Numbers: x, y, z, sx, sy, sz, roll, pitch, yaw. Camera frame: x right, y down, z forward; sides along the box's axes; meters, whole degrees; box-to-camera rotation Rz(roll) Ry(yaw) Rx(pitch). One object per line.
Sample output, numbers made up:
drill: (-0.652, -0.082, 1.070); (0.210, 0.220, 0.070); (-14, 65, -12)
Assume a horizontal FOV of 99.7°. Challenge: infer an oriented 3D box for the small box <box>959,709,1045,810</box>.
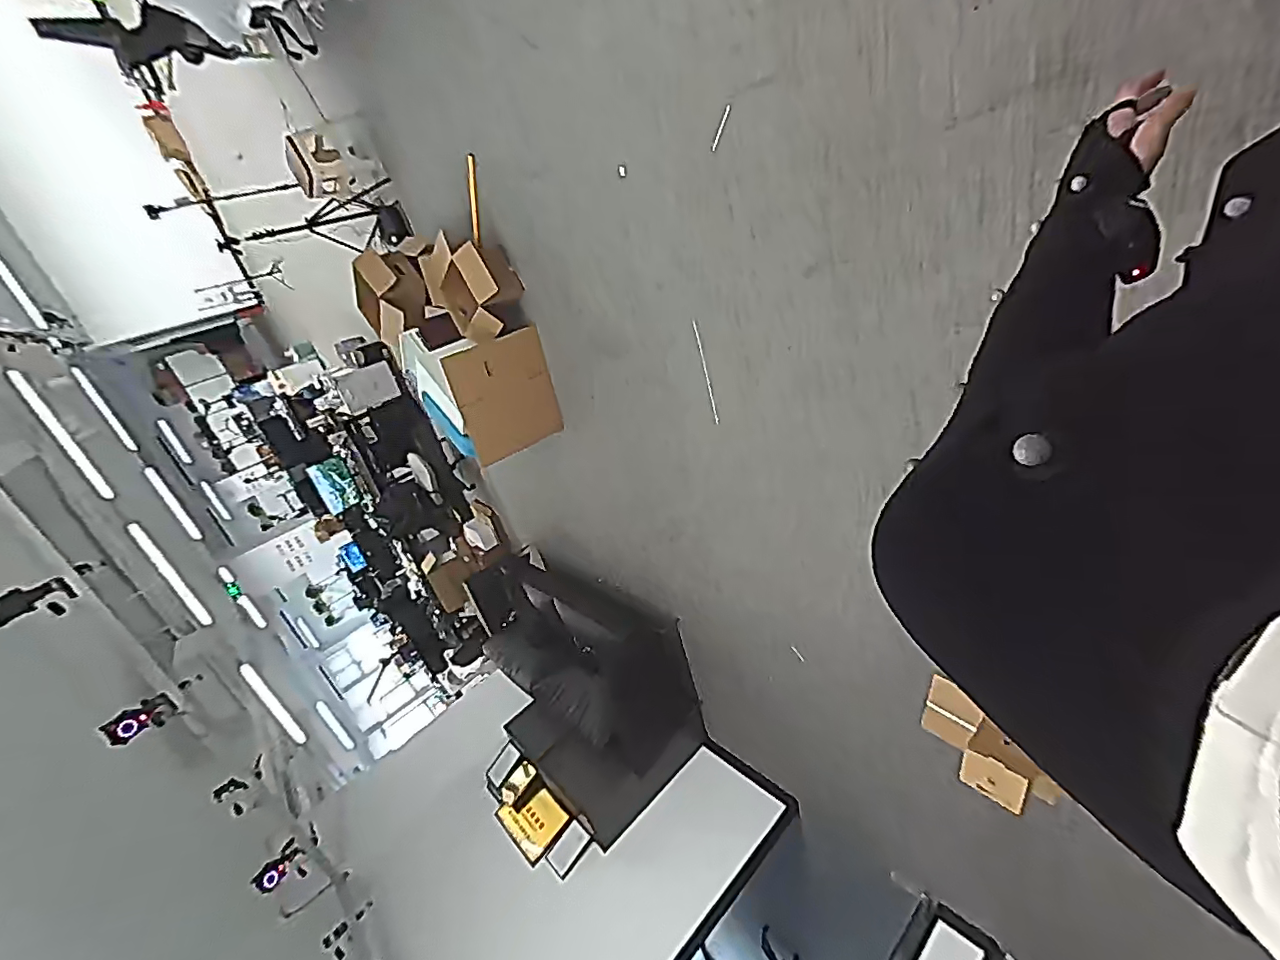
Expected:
small box: (1.104, 0.843, 1.647); (0.168, 0.176, 0.179); (22, 133, 44)
